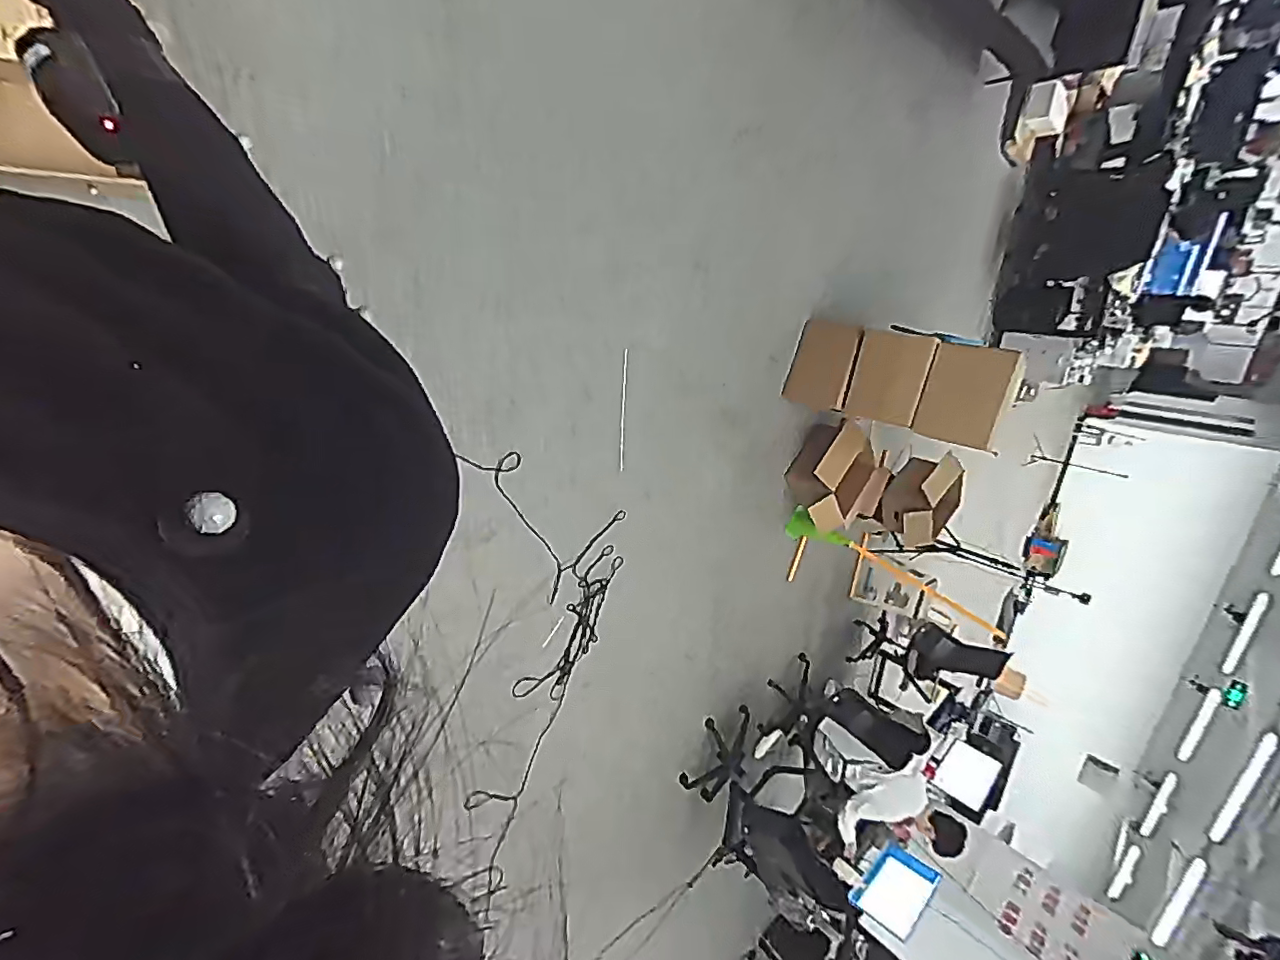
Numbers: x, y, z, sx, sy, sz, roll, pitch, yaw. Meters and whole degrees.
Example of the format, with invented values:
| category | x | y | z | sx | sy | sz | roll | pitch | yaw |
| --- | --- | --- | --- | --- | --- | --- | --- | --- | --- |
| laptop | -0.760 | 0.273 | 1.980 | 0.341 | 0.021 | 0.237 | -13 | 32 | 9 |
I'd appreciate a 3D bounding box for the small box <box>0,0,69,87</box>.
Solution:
| category | x | y | z | sx | sy | sz | roll | pitch | yaw |
| --- | --- | --- | --- | --- | --- | --- | --- | --- | --- |
| small box | -0.871 | -0.635 | 0.687 | 0.168 | 0.176 | 0.179 | -17 | 119 | -38 |
